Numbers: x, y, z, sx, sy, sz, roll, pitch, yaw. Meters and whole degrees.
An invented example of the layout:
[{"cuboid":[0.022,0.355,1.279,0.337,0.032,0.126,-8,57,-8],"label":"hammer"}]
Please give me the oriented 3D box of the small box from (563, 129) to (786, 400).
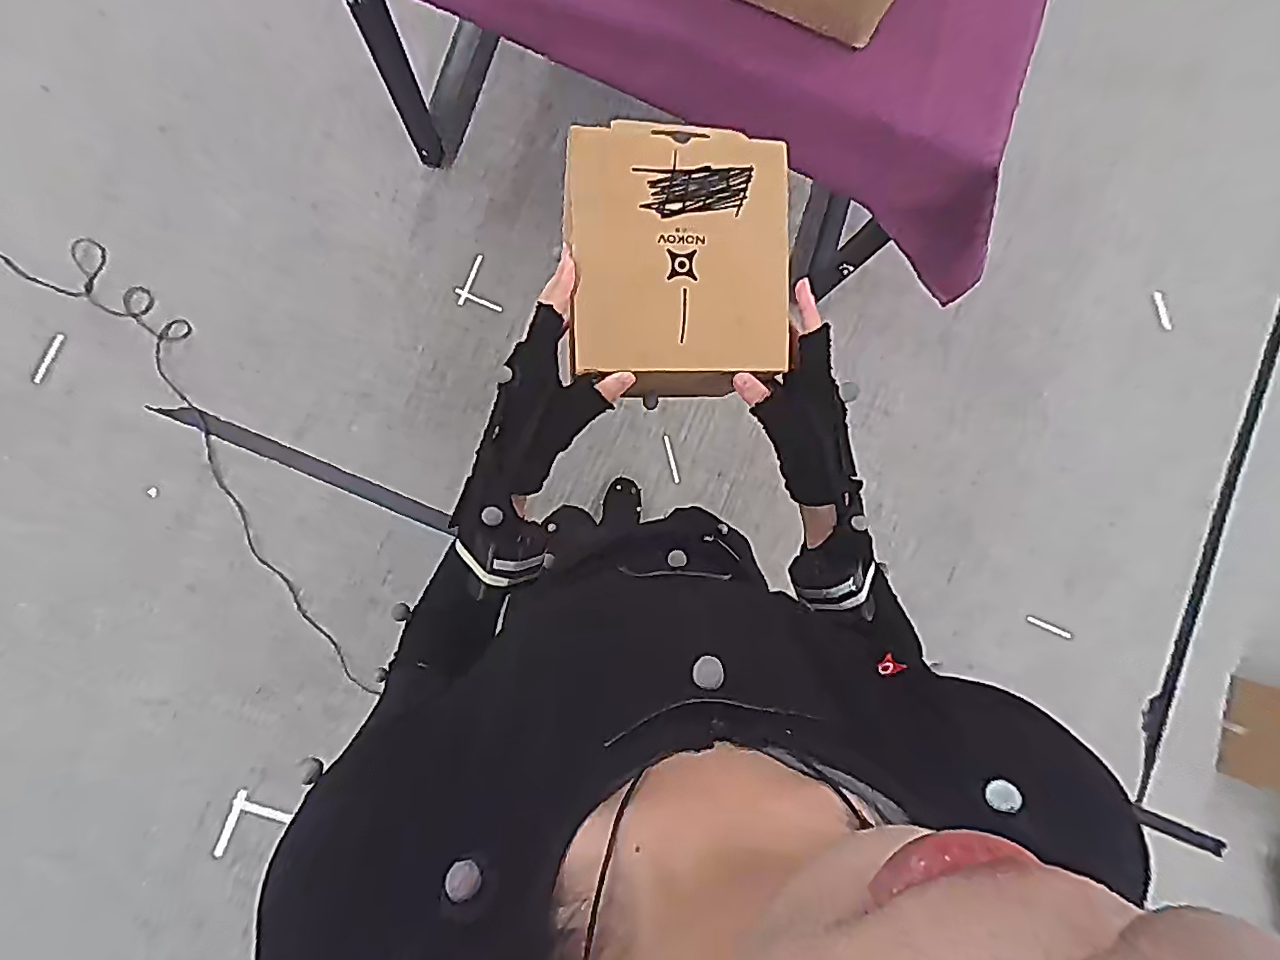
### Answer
[{"cuboid":[0.017,-0.170,0.482,0.168,0.176,0.179,-2,92,-9],"label":"small box"}]
